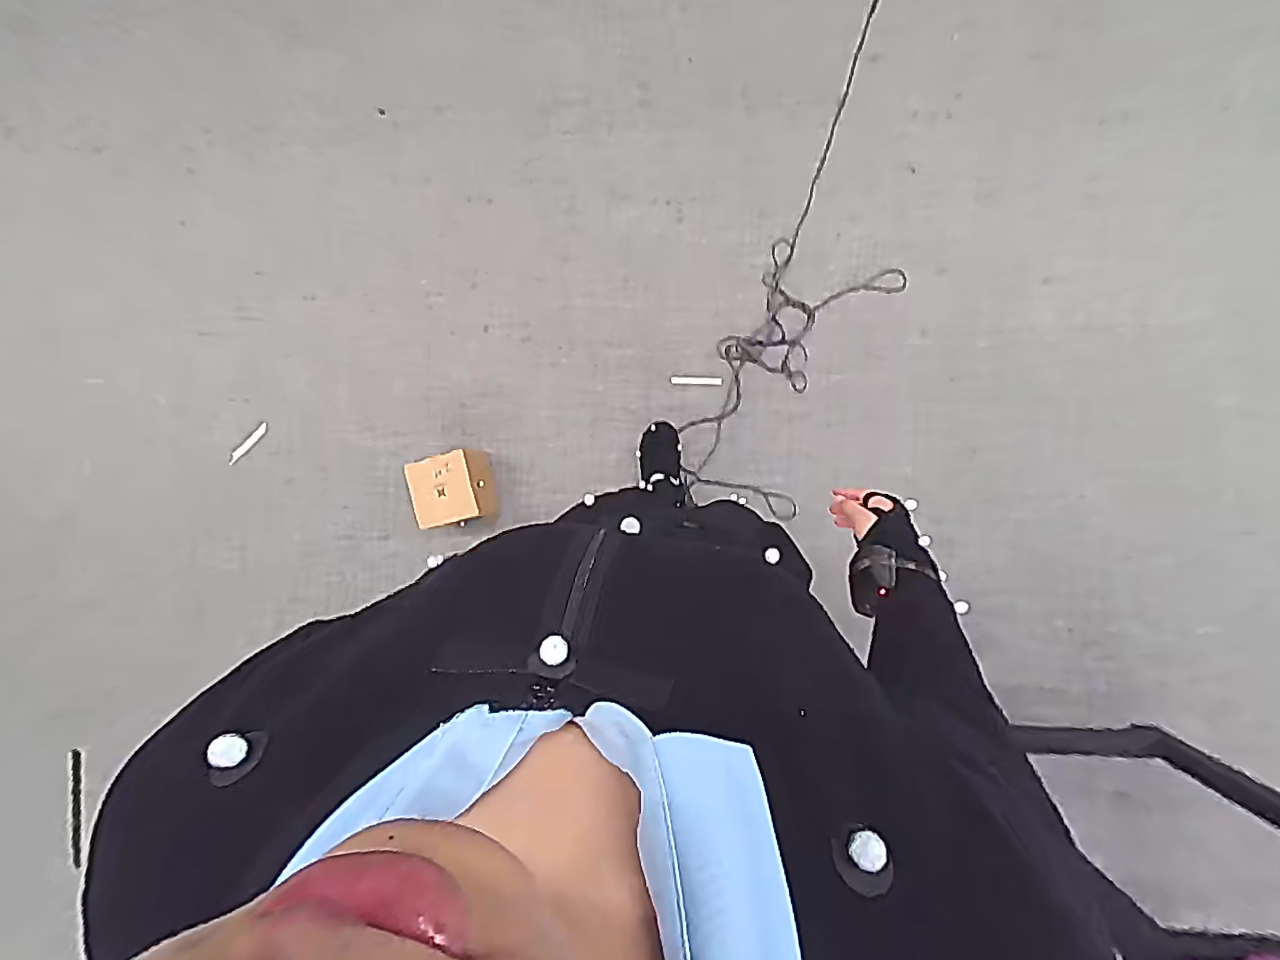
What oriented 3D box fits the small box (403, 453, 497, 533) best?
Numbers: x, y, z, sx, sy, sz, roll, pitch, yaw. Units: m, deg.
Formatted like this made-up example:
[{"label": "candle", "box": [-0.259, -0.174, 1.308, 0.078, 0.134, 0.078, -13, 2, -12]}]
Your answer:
[{"label": "small box", "box": [-0.500, 0.031, 1.449, 0.168, 0.176, 0.179, -14, 89, 5]}]
